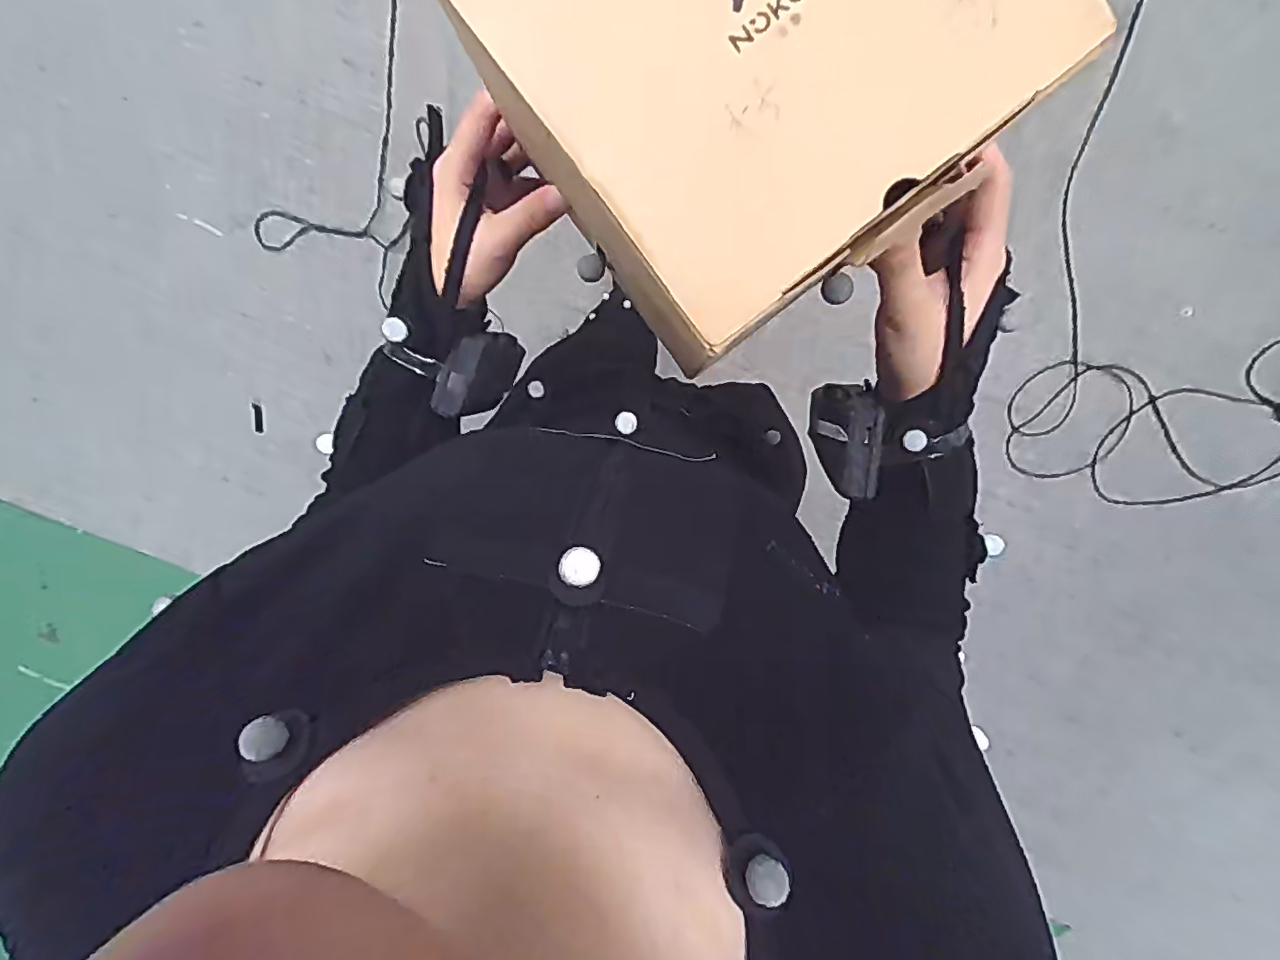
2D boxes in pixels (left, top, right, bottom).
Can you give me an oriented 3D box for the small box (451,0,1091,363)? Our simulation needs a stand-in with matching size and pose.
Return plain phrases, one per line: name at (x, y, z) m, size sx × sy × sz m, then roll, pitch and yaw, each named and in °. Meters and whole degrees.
small box at (0.045, -0.173, 0.266) m, size 0.168 × 0.176 × 0.179 m, roll -35°, pitch 95°, yaw 6°
